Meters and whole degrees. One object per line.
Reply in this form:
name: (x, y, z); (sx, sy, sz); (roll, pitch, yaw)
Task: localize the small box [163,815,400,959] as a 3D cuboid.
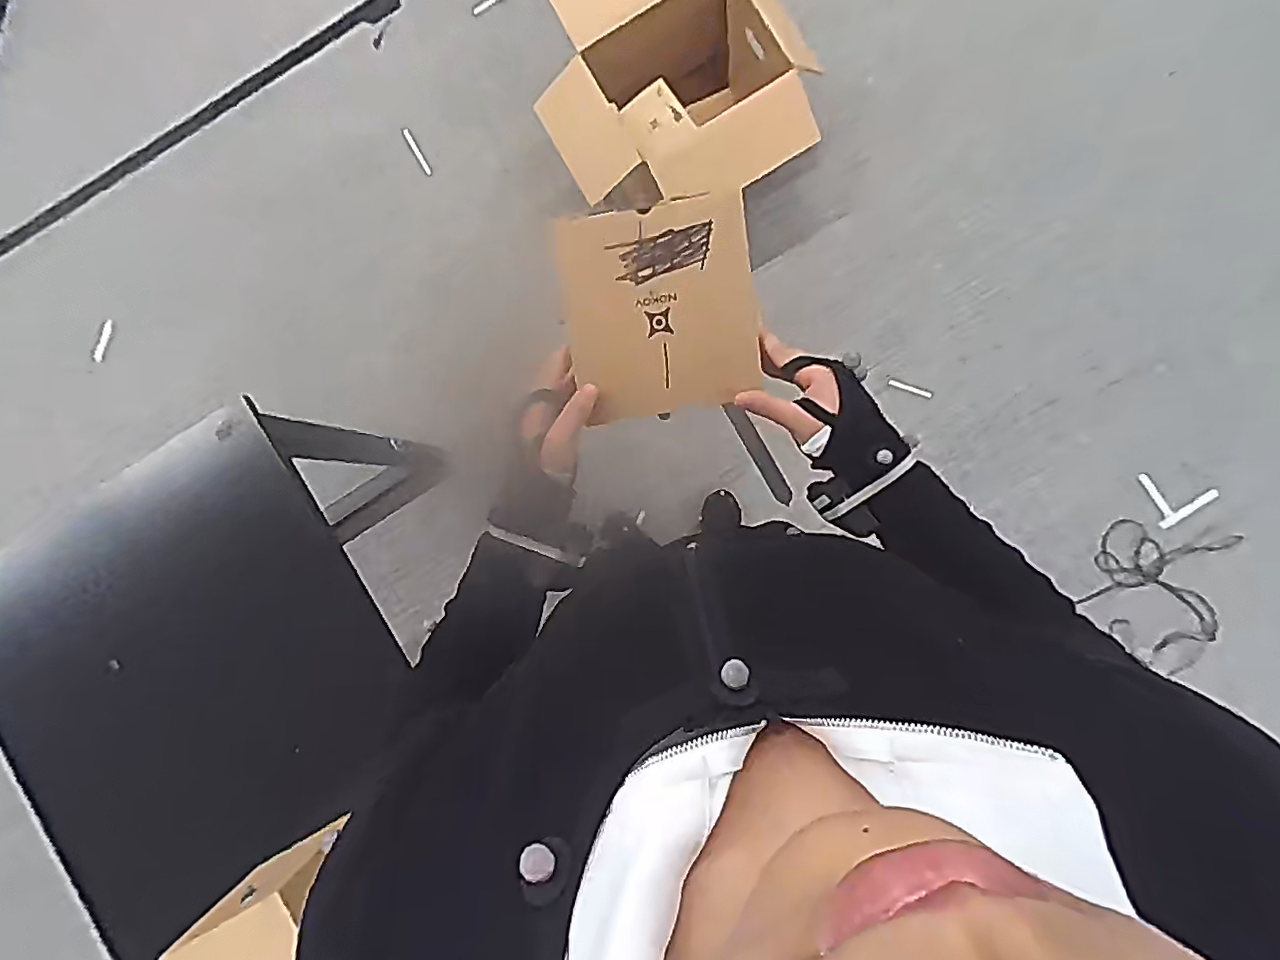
small box: (-0.449, 0.592, 0.714); (0.179, 0.176, 0.168); (-31, 87, 2)

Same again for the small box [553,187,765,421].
small box: (0.018, -0.163, 0.541); (0.168, 0.176, 0.179); (-9, 103, 3)
